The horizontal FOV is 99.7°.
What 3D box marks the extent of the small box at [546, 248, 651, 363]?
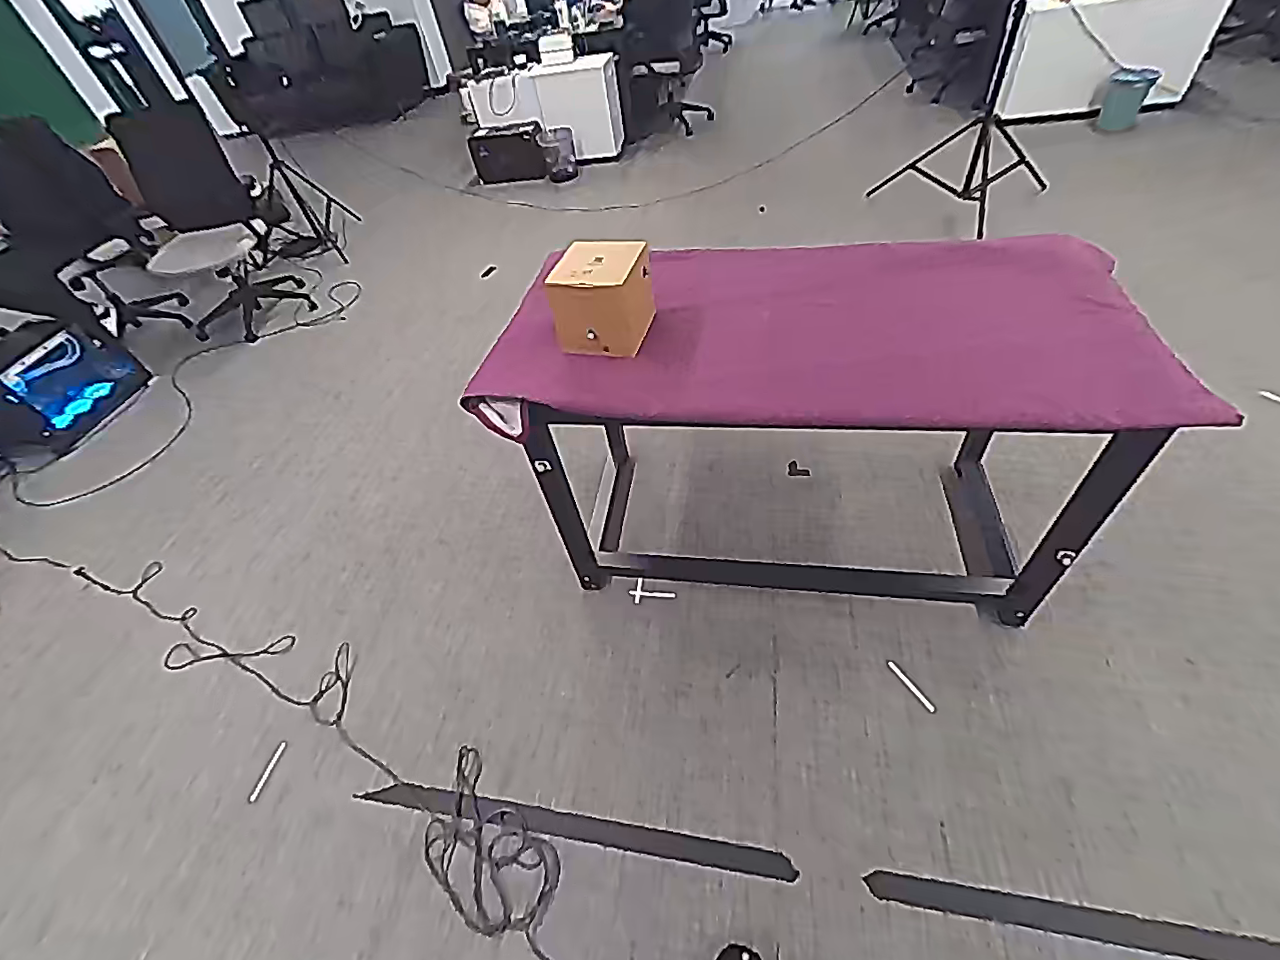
[{"bbox_3d":[-0.078,-0.374,1.156,0.168,0.176,0.179,7,50,17],"label":"small box"}]
